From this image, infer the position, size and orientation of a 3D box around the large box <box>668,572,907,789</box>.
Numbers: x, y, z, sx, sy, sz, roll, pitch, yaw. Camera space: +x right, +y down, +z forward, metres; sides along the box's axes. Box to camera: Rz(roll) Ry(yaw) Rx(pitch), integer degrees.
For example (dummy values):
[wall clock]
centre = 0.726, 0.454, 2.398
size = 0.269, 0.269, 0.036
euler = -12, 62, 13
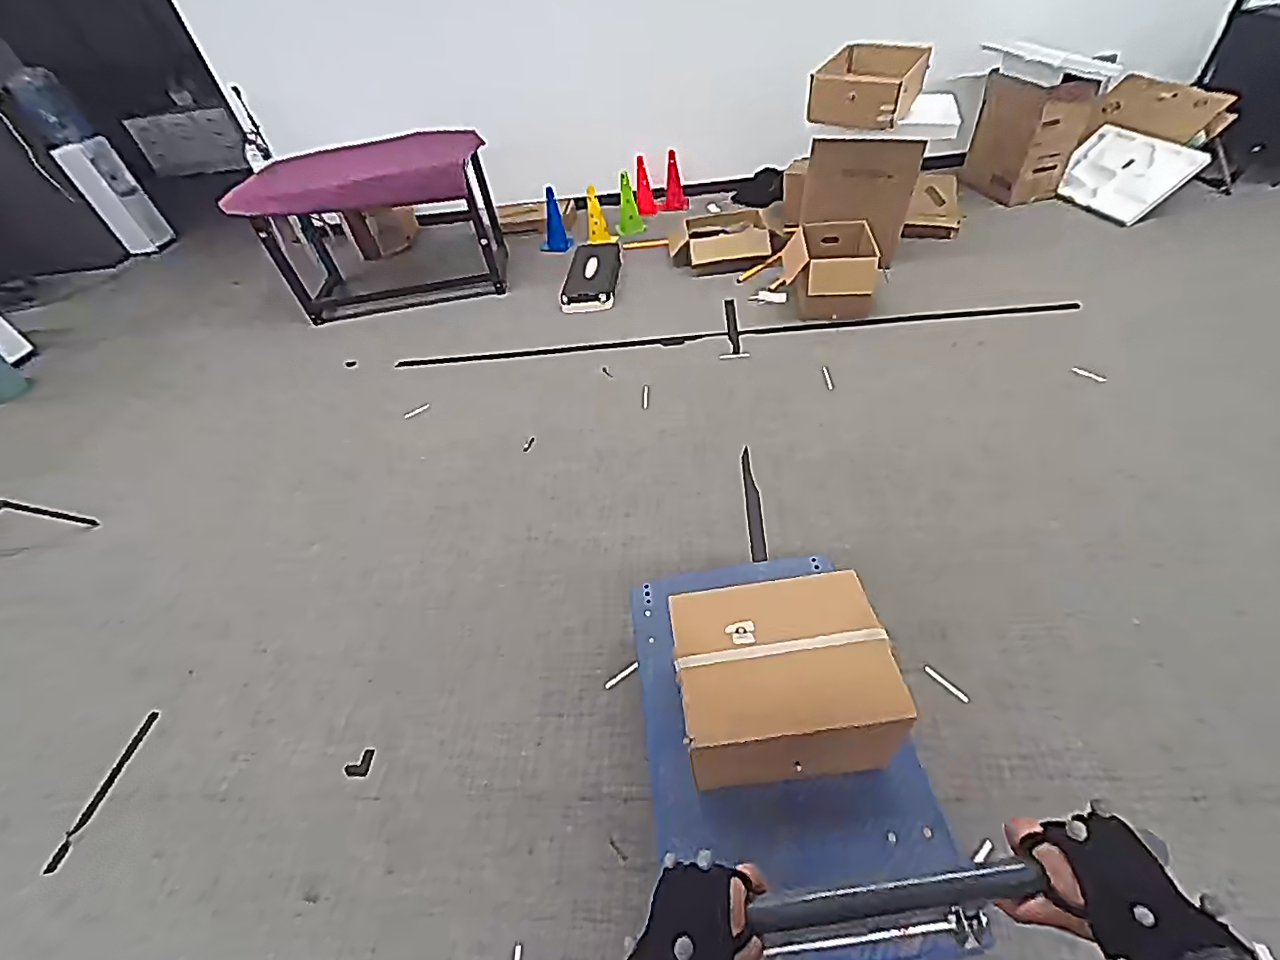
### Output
[large box]
centre = 0.294, 0.443, 1.183
size = 0.408, 0.320, 0.320
euler = -10, 45, 2
